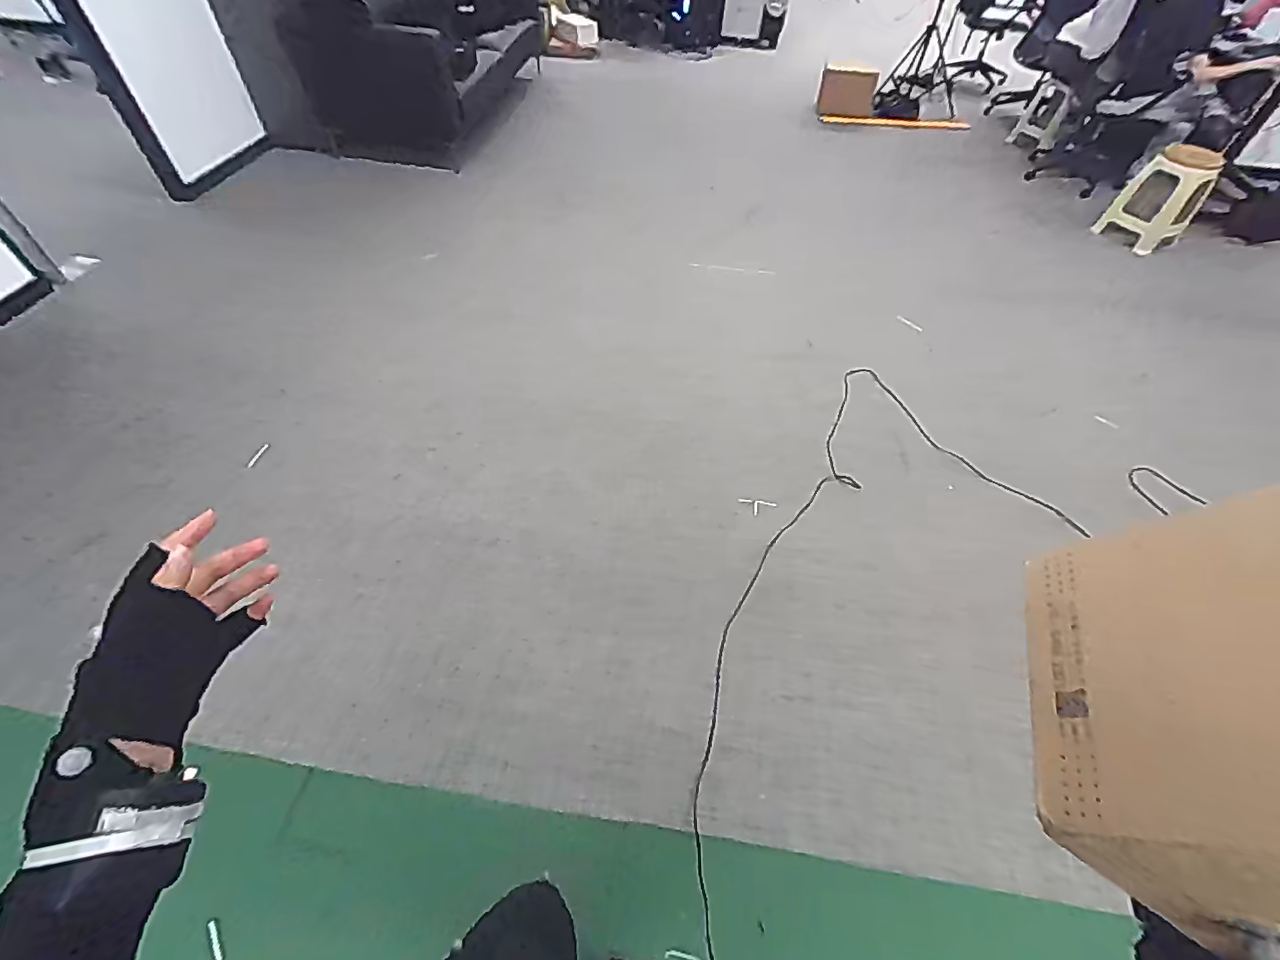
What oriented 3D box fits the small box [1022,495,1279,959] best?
[{"bbox_3d":[0.321,0.119,0.257,0.179,0.176,0.168,37,52,-11],"label":"small box"}]
